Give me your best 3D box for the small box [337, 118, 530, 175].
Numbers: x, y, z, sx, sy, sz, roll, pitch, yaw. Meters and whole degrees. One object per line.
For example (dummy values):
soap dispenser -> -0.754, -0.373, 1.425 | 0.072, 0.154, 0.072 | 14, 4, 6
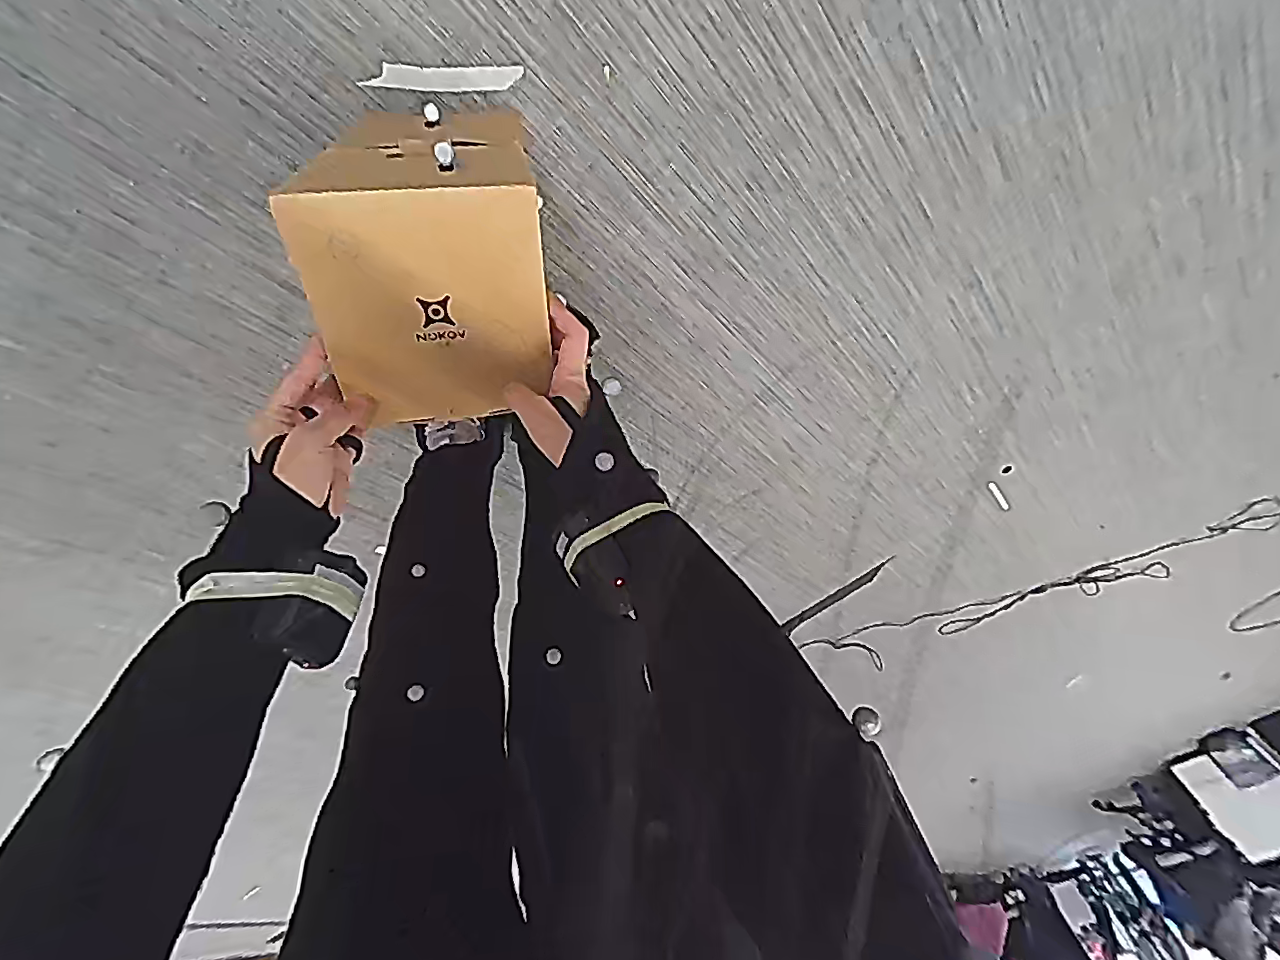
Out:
small box -> -0.199, -0.280, 0.587 | 0.168, 0.176, 0.179 | -8, 133, -8

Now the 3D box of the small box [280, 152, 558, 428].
small box -> -0.167, -0.169, 0.460 | 0.168, 0.176, 0.179 | -8, 131, -11
